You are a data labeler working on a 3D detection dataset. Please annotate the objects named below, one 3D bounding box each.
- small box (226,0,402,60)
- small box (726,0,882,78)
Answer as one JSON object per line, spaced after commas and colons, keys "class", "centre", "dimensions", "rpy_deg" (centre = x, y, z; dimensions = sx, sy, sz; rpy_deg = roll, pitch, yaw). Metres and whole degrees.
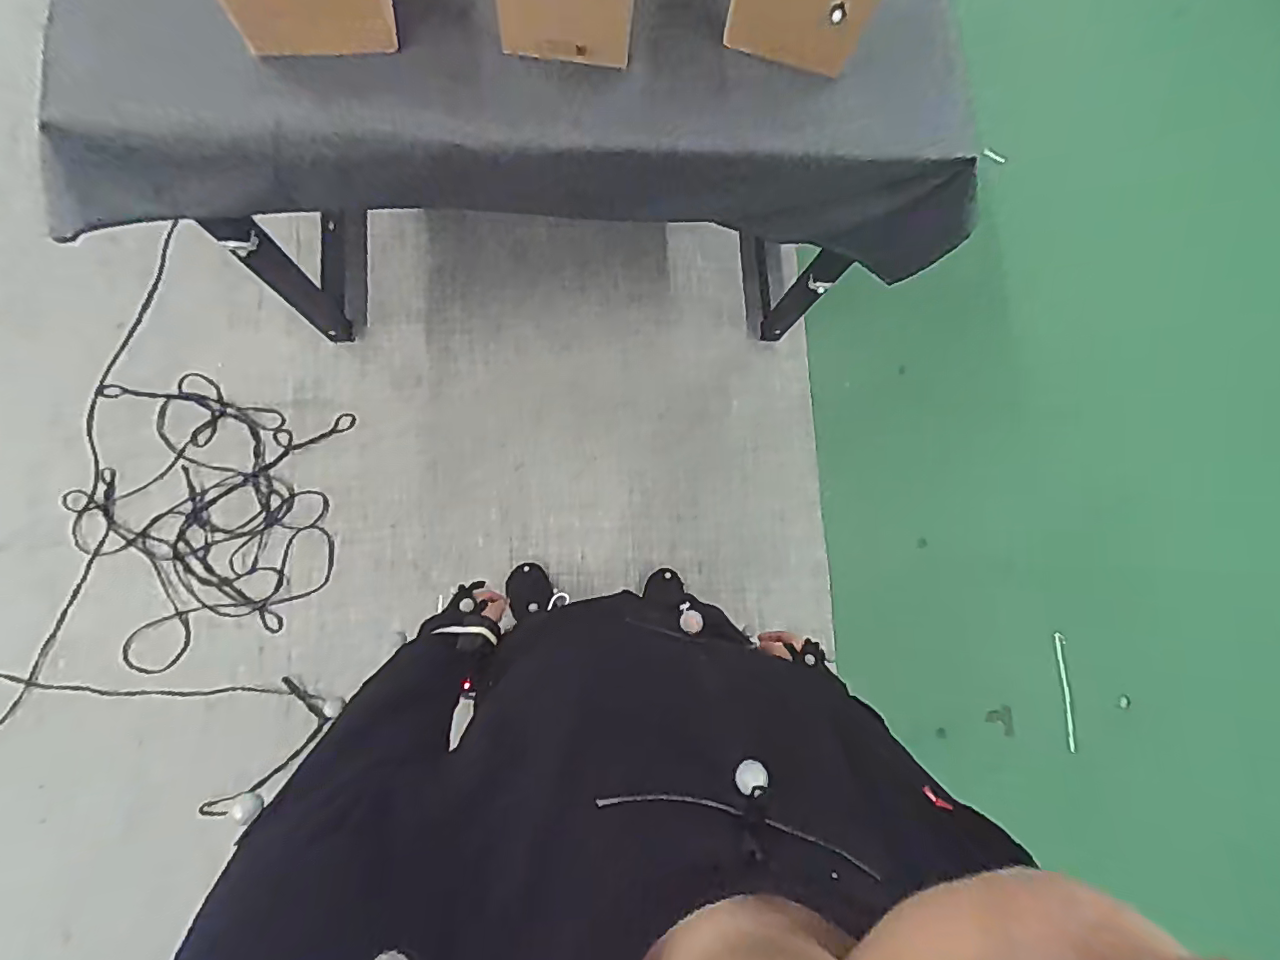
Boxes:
{"class": "small box", "centre": [-0.395, -0.624, 0.620], "dimensions": [0.179, 0.176, 0.168], "rpy_deg": [-9, 83, -10]}
{"class": "small box", "centre": [0.229, -0.680, 0.711], "dimensions": [0.179, 0.176, 0.168], "rpy_deg": [11, 79, -4]}
